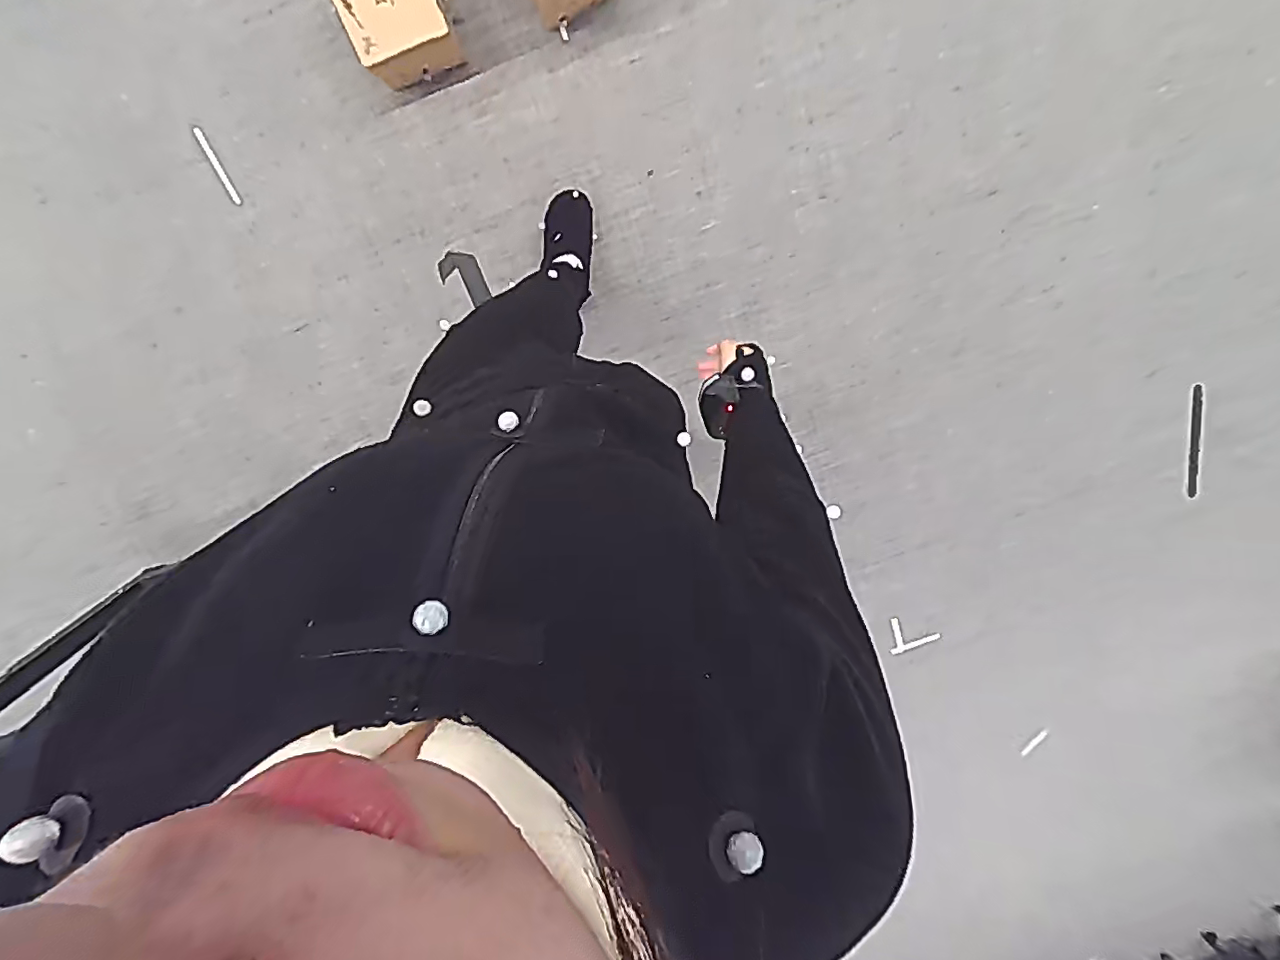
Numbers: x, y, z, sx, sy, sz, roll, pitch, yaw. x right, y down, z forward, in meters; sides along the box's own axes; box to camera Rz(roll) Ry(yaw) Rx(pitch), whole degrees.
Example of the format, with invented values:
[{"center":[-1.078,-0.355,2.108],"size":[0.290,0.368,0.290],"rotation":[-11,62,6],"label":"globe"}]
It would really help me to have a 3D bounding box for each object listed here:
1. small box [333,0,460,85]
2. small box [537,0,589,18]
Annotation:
[{"center":[-0.457,-0.883,1.017],"size":[0.179,0.176,0.168],"rotation":[-20,114,3],"label":"small box"},{"center":[-0.144,-1.002,0.996],"size":[0.168,0.176,0.179],"rotation":[-26,113,6],"label":"small box"}]
